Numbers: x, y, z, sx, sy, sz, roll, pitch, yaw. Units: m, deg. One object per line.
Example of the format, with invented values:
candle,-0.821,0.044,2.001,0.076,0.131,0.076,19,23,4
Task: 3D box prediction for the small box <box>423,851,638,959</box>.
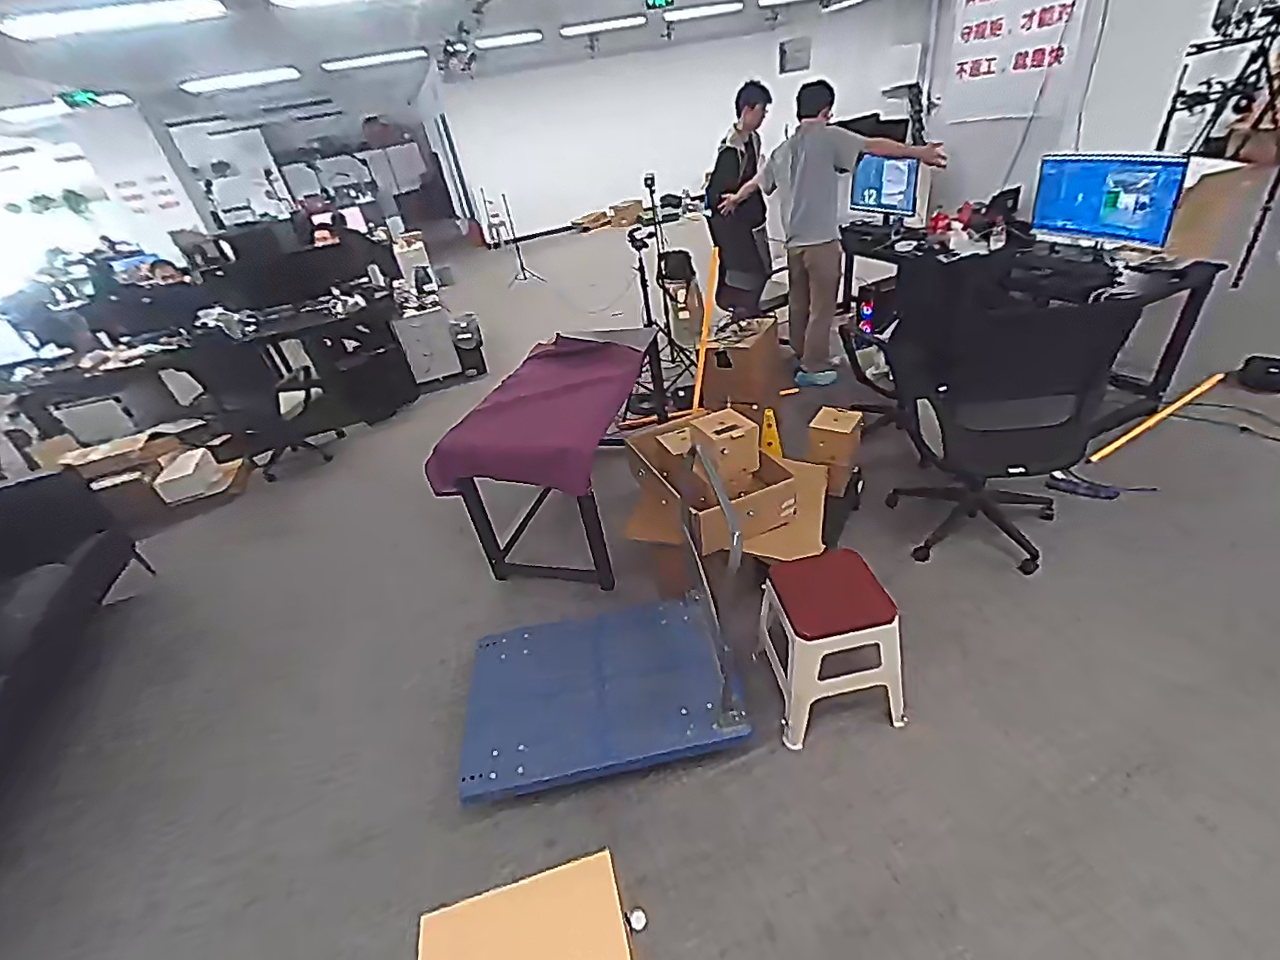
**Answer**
small box,-0.079,0.463,0.456,0.168,0.176,0.179,-13,37,-9
